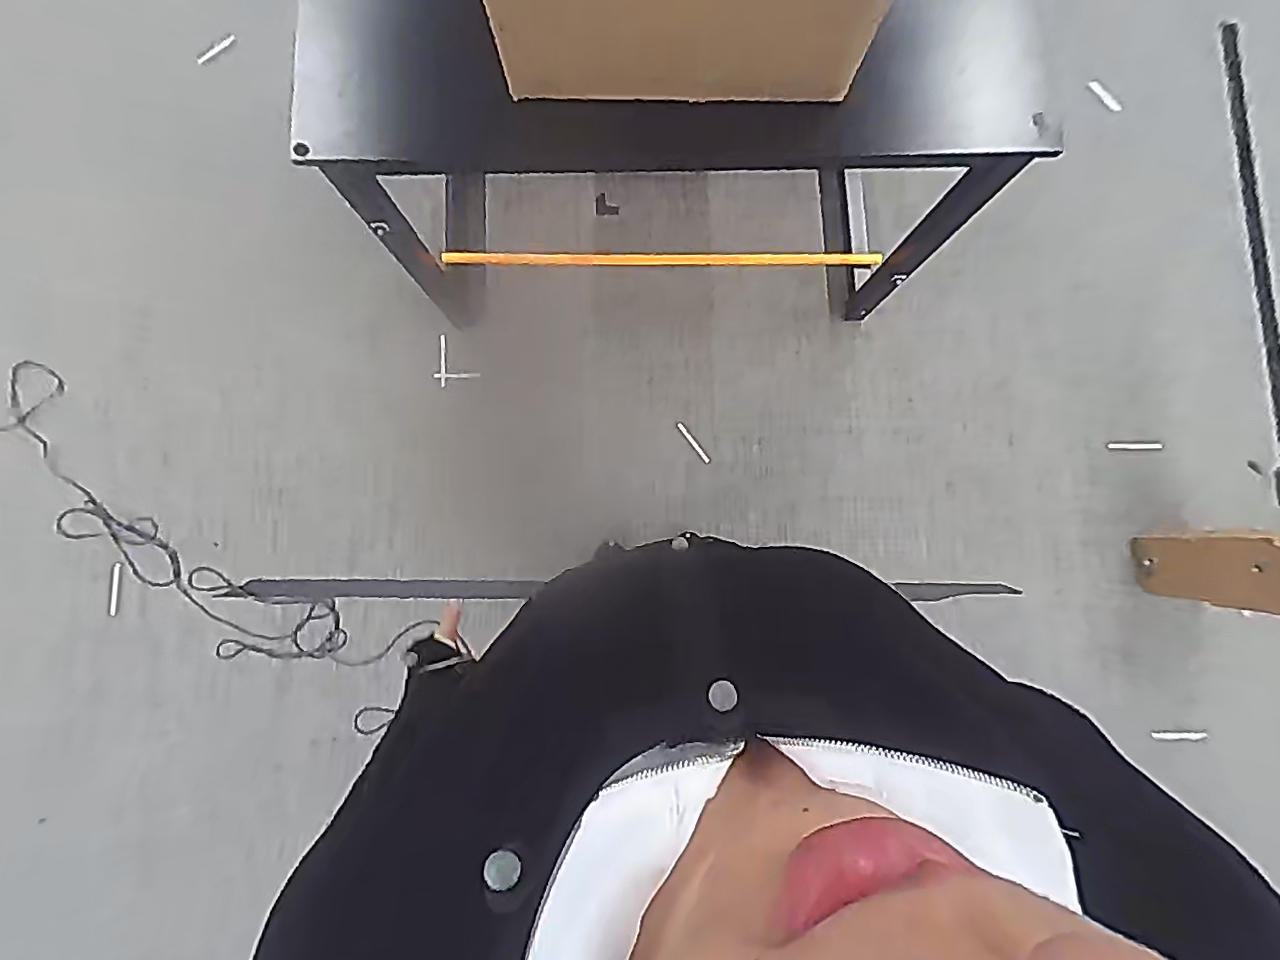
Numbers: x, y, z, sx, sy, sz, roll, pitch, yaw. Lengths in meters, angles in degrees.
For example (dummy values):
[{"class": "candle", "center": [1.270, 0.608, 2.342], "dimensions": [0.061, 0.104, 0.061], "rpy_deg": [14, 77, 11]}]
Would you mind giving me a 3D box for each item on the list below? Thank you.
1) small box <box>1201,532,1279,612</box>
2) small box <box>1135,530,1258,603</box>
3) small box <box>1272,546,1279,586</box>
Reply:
[{"class": "small box", "center": [1.491, 0.213, 1.273], "dimensions": [0.168, 0.176, 0.179], "rpy_deg": [-5, 85, -1]}, {"class": "small box", "center": [1.487, 0.224, 1.438], "dimensions": [0.179, 0.176, 0.168], "rpy_deg": [-8, 84, 0]}, {"class": "small box", "center": [1.488, 0.205, 1.109], "dimensions": [0.179, 0.176, 0.168], "rpy_deg": [-9, 84, -1]}]
